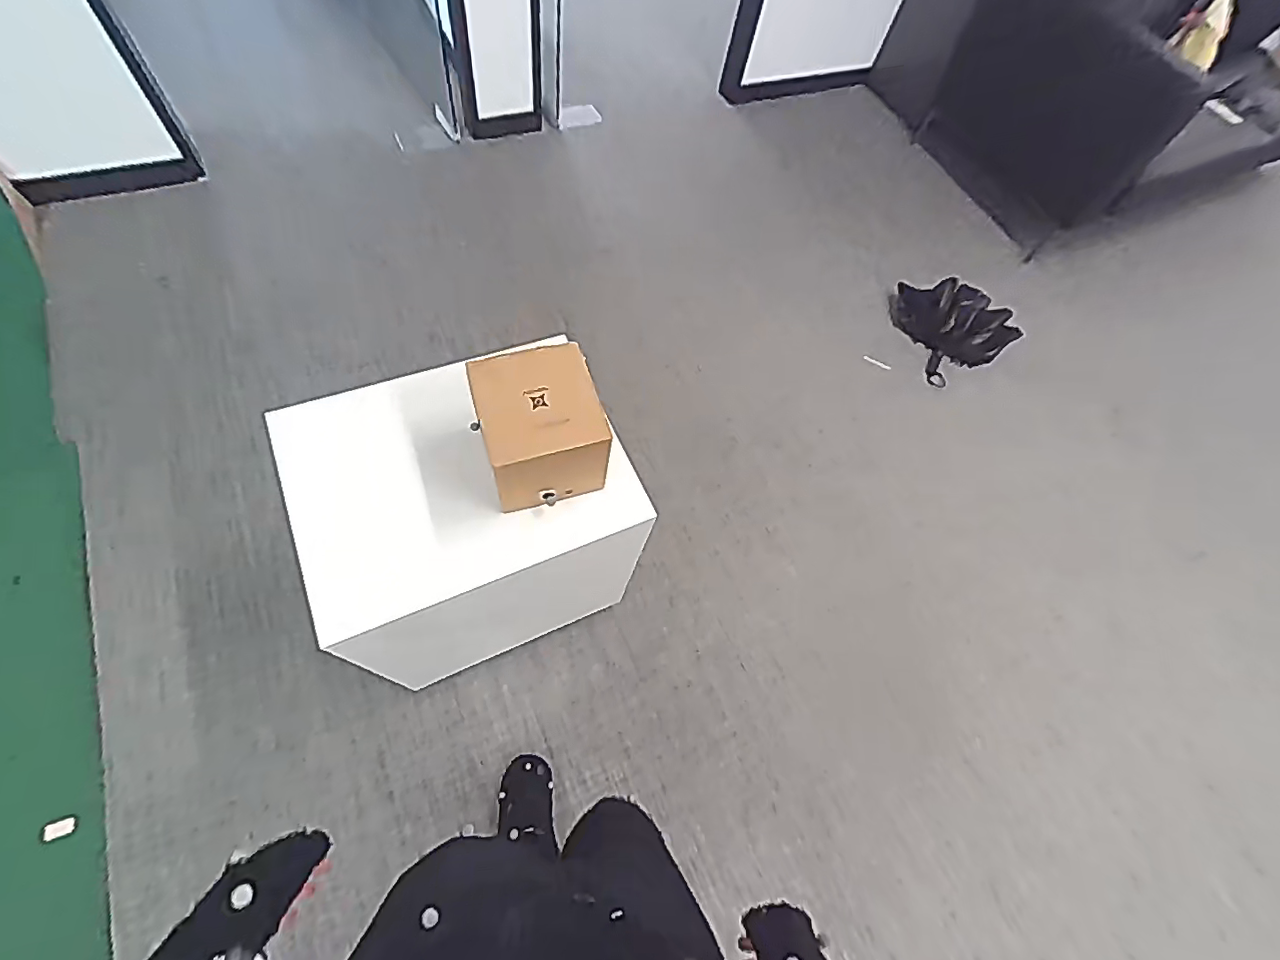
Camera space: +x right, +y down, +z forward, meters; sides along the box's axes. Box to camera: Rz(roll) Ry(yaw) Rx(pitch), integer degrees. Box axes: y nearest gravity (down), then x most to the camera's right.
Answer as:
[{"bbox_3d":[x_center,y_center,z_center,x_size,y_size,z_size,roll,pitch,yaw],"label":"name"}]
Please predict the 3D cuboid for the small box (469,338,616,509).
[{"bbox_3d":[-0.147,-0.081,0.813,0.168,0.176,0.179,-16,68,-15],"label":"small box"}]
